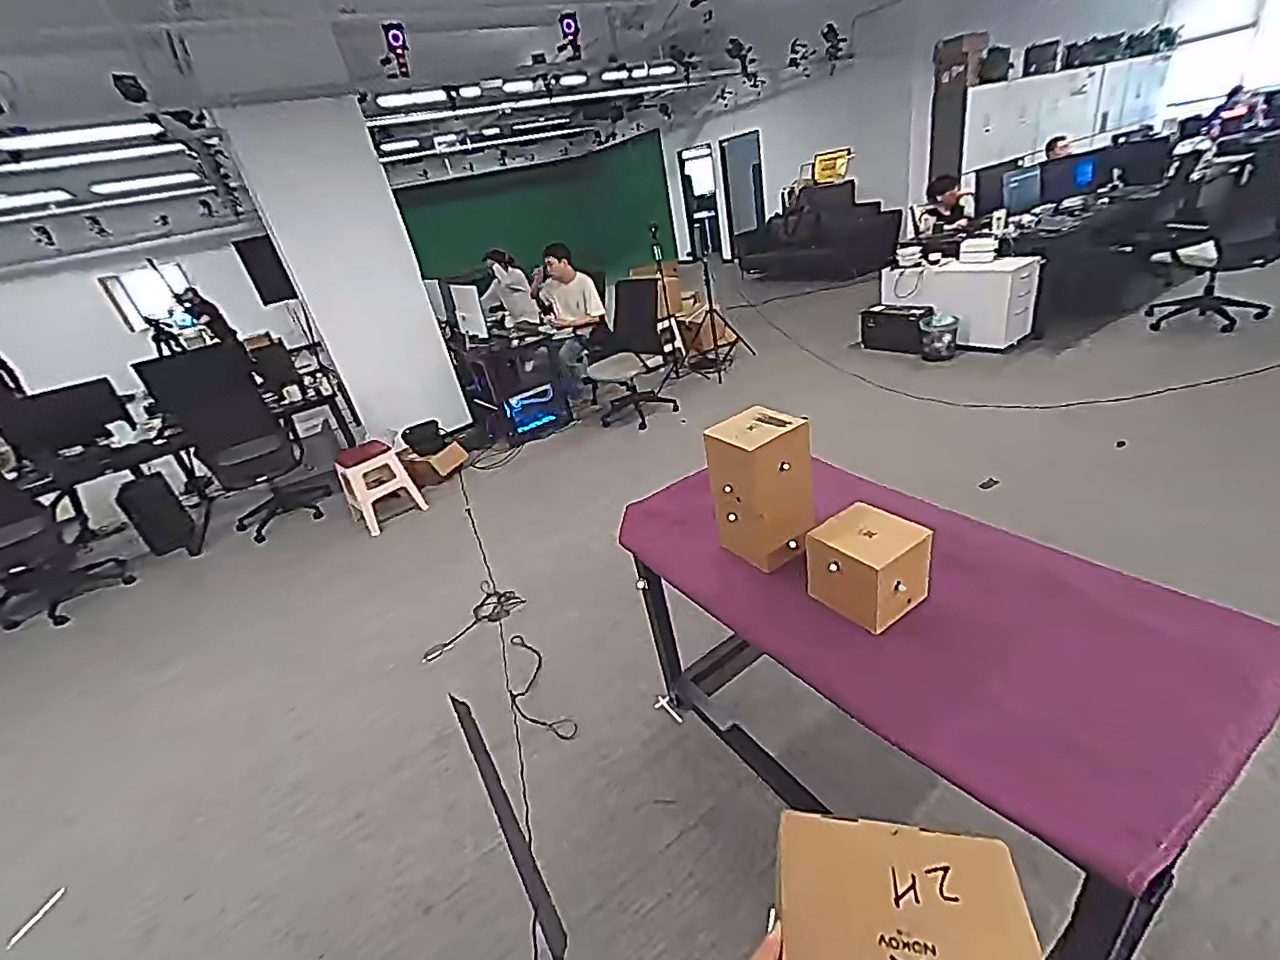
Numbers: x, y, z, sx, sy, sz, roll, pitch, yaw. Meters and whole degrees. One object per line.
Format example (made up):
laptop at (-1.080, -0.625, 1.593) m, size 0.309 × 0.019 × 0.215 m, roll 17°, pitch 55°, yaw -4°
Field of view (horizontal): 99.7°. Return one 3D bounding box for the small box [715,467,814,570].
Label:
small box at (0.308, 0.093, 1.336) m, size 0.168 × 0.176 × 0.179 m, roll -26°, pitch 31°, yaw -24°

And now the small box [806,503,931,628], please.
small box at (0.469, 0.178, 1.117) m, size 0.168 × 0.176 × 0.179 m, roll -26°, pitch 30°, yaw -24°
